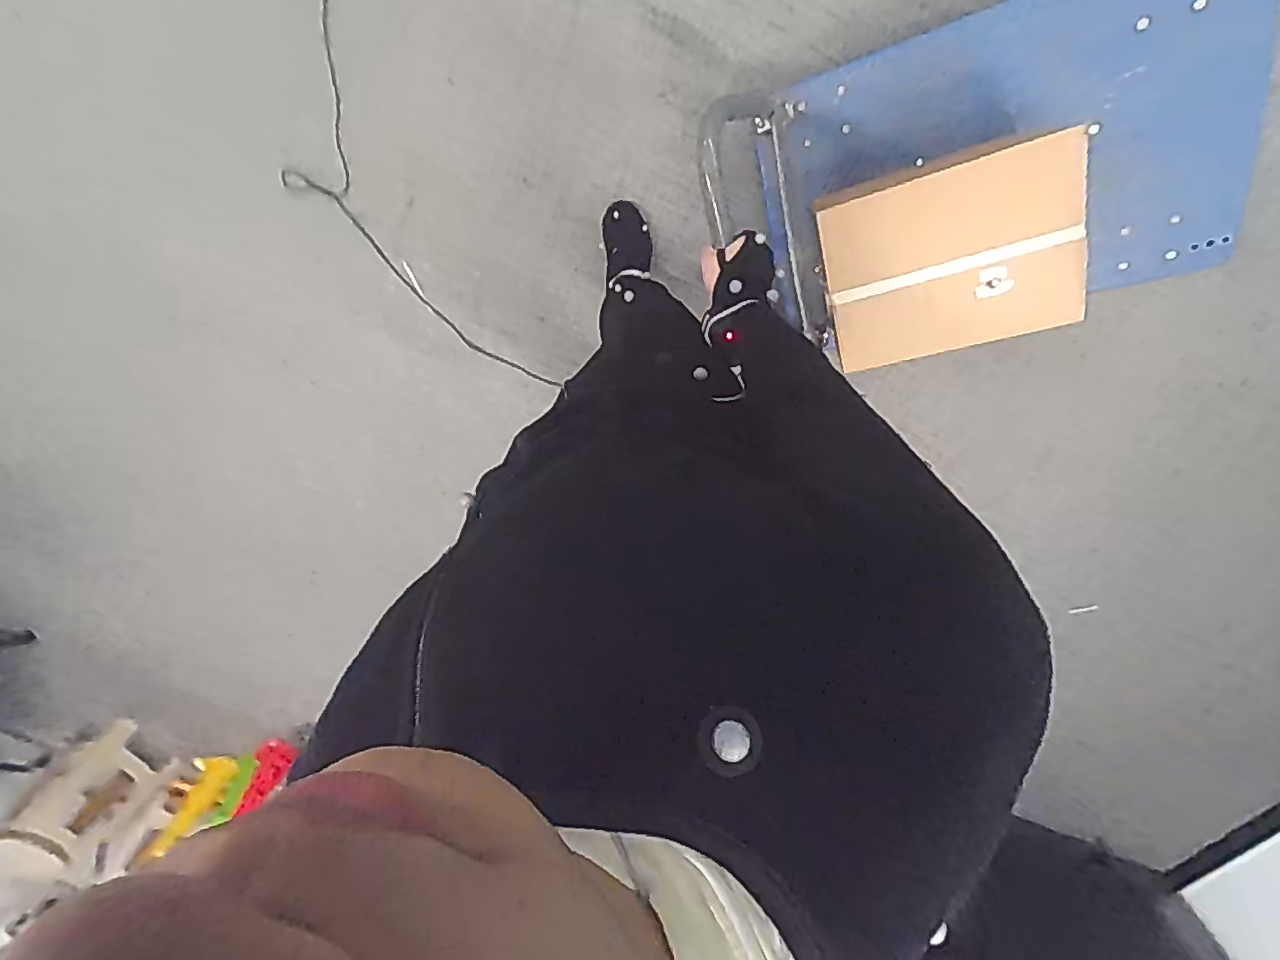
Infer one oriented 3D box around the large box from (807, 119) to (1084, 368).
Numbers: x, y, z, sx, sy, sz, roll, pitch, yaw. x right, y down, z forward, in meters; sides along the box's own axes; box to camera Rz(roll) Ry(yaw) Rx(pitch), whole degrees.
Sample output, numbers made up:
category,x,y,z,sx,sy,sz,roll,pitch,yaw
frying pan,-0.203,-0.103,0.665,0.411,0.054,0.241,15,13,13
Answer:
category,x,y,z,sx,sy,sz,roll,pitch,yaw
large box,0.572,-0.459,1.079,0.408,0.320,0.320,-10,117,19
